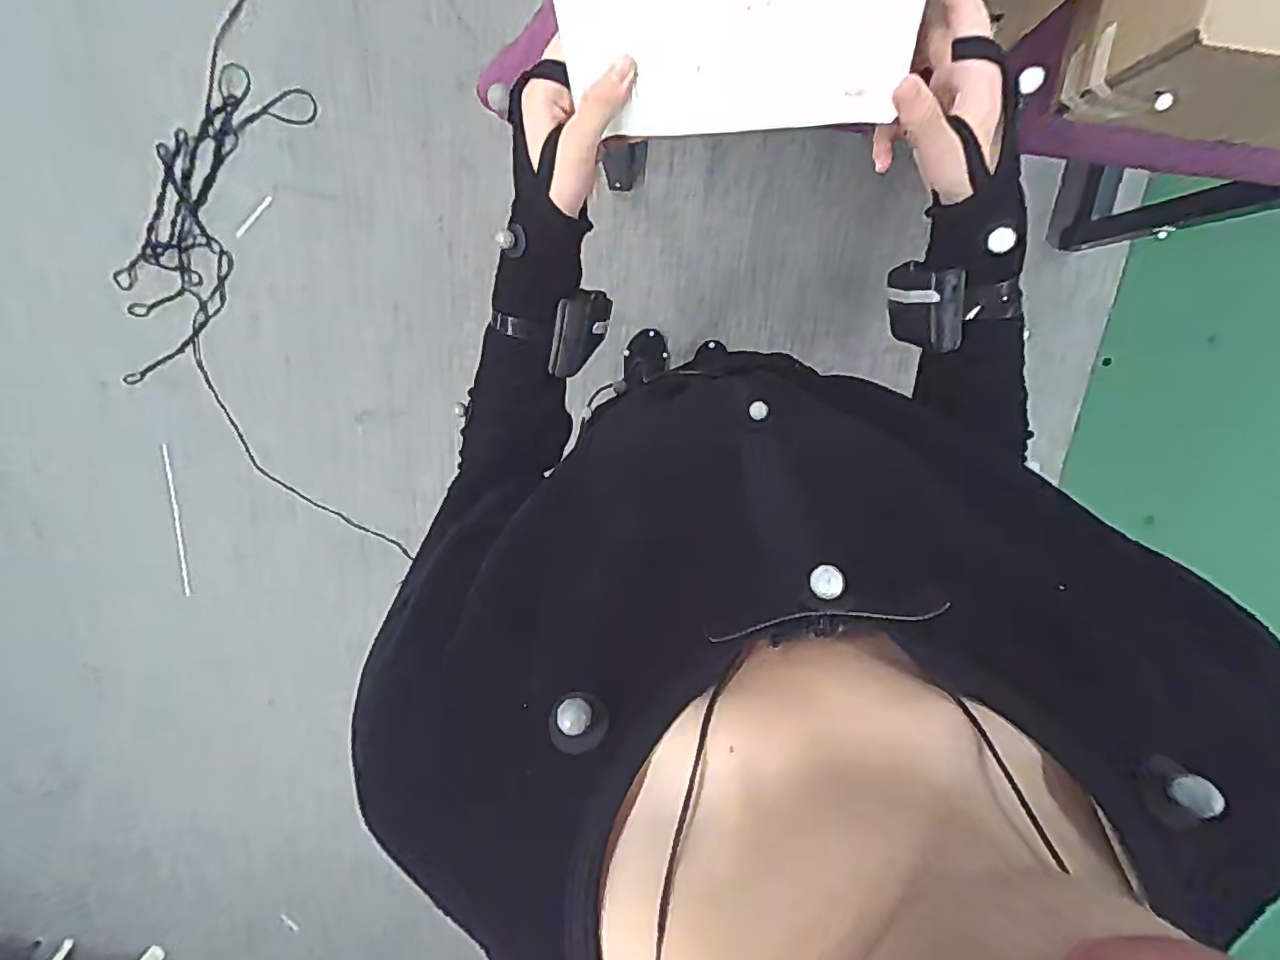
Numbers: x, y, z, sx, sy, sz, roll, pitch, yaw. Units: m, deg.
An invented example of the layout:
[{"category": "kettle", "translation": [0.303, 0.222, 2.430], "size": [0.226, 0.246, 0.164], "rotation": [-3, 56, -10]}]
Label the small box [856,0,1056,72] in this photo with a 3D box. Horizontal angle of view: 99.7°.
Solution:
[{"category": "small box", "translation": [0.337, -0.555, 0.545], "size": [0.168, 0.176, 0.179], "rotation": [8, 102, -1]}]
